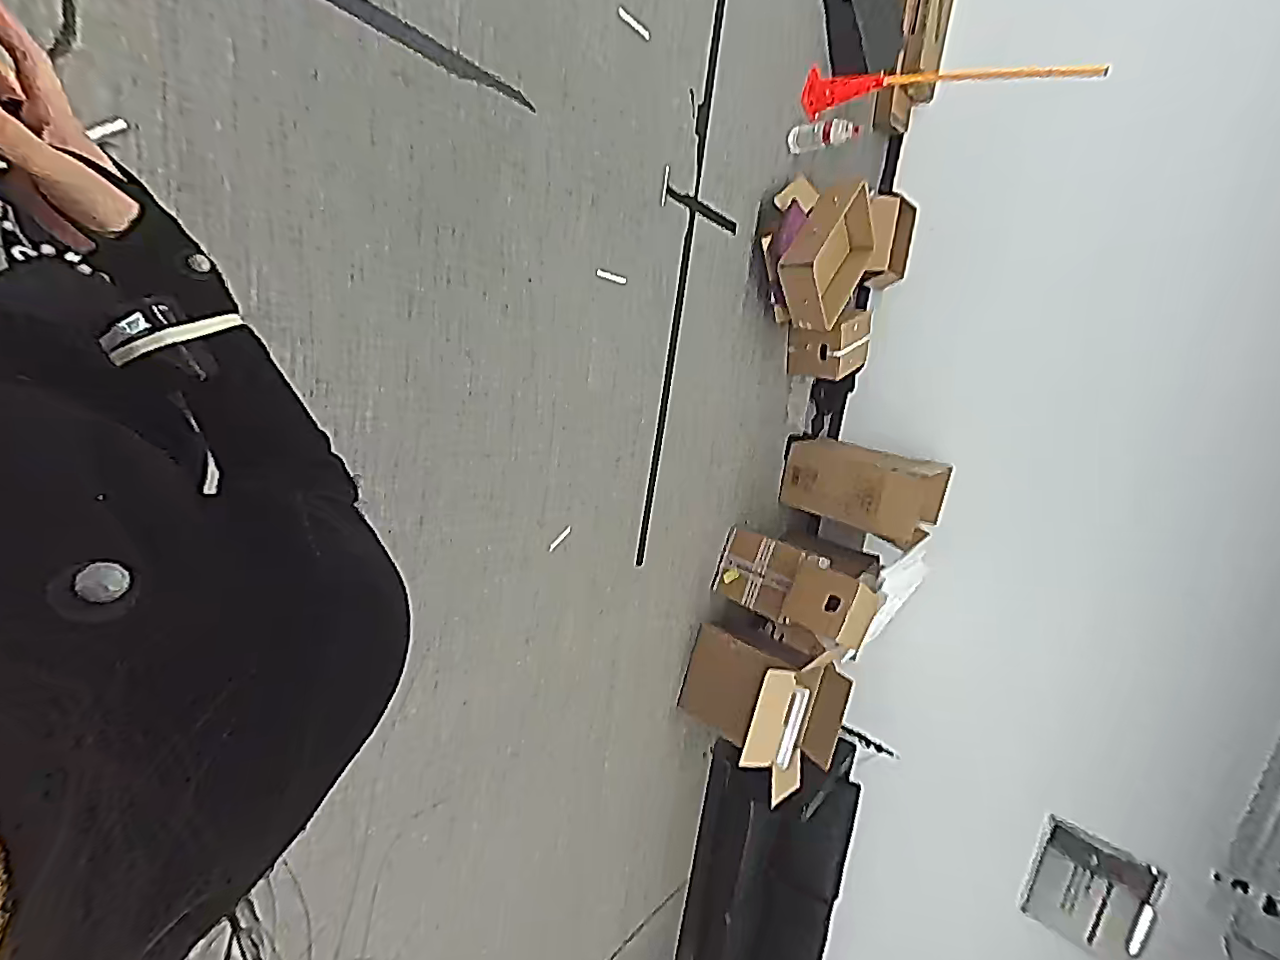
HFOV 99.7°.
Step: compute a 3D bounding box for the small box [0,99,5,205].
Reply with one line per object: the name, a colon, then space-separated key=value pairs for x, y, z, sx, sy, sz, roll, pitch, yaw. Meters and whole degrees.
small box: x=-0.402 y=-0.227 z=0.226 sx=0.168 sy=0.176 sz=0.179 roll=-5 pitch=105 yaw=-52
